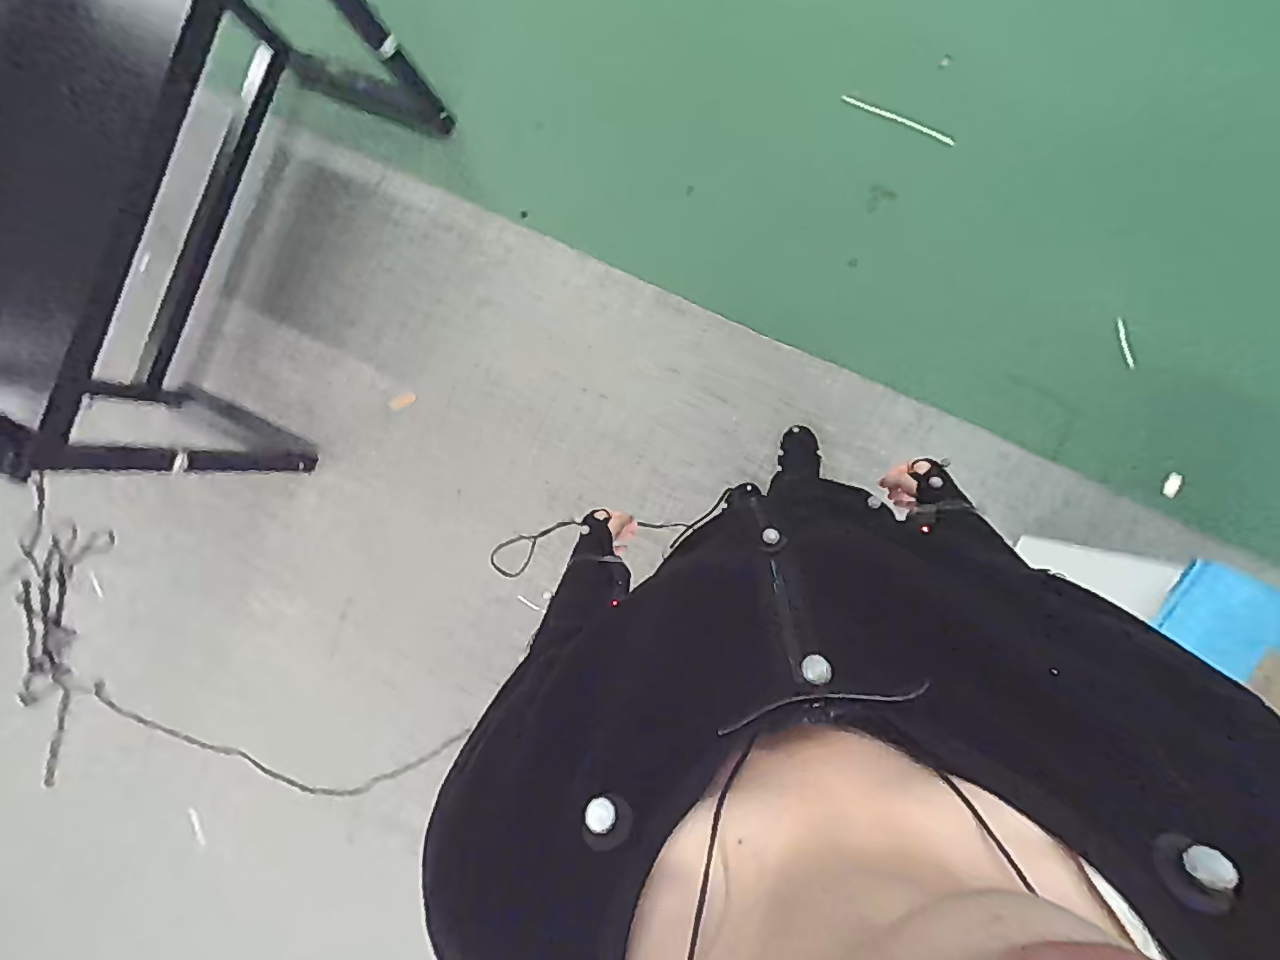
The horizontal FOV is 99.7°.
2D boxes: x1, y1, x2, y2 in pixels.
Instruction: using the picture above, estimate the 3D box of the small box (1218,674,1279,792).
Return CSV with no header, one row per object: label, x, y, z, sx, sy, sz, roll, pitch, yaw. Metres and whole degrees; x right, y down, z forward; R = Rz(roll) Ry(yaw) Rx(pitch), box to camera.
small box,0.954,0.379,0.713,0.179,0.176,0.168,30,95,6
